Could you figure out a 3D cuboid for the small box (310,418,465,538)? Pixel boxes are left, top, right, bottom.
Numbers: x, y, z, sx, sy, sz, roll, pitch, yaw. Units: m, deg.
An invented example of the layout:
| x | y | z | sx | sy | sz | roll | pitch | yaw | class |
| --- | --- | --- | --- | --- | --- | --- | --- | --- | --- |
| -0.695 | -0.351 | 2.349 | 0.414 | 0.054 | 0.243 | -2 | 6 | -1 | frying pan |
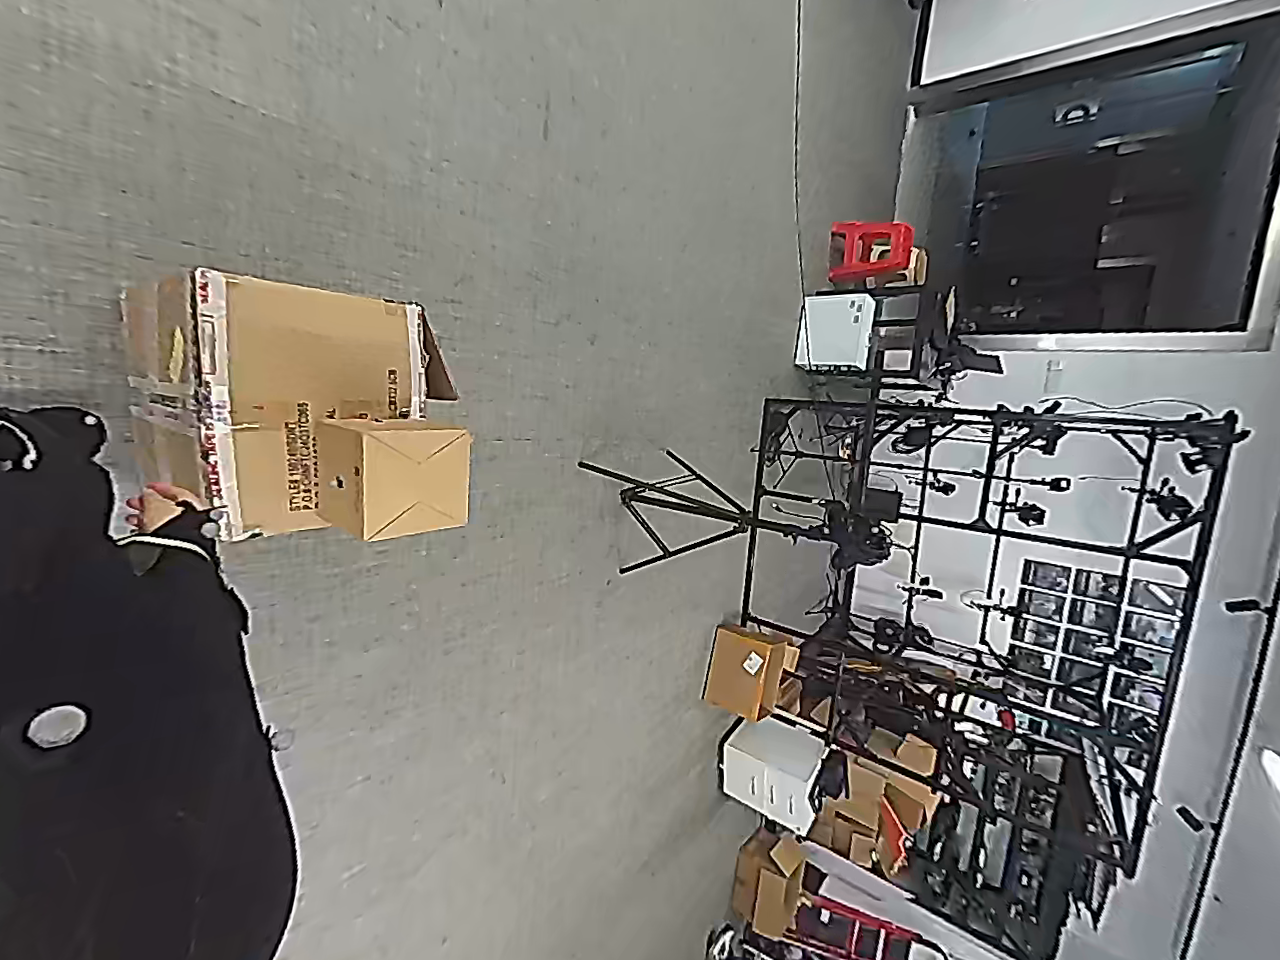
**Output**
| x | y | z | sx | sy | sz | roll | pitch | yaw | class |
| --- | --- | --- | --- | --- | --- | --- | --- | --- | --- |
| -0.411 | -0.011 | 0.887 | 0.179 | 0.176 | 0.168 | -8 | 107 | -51 | small box |
